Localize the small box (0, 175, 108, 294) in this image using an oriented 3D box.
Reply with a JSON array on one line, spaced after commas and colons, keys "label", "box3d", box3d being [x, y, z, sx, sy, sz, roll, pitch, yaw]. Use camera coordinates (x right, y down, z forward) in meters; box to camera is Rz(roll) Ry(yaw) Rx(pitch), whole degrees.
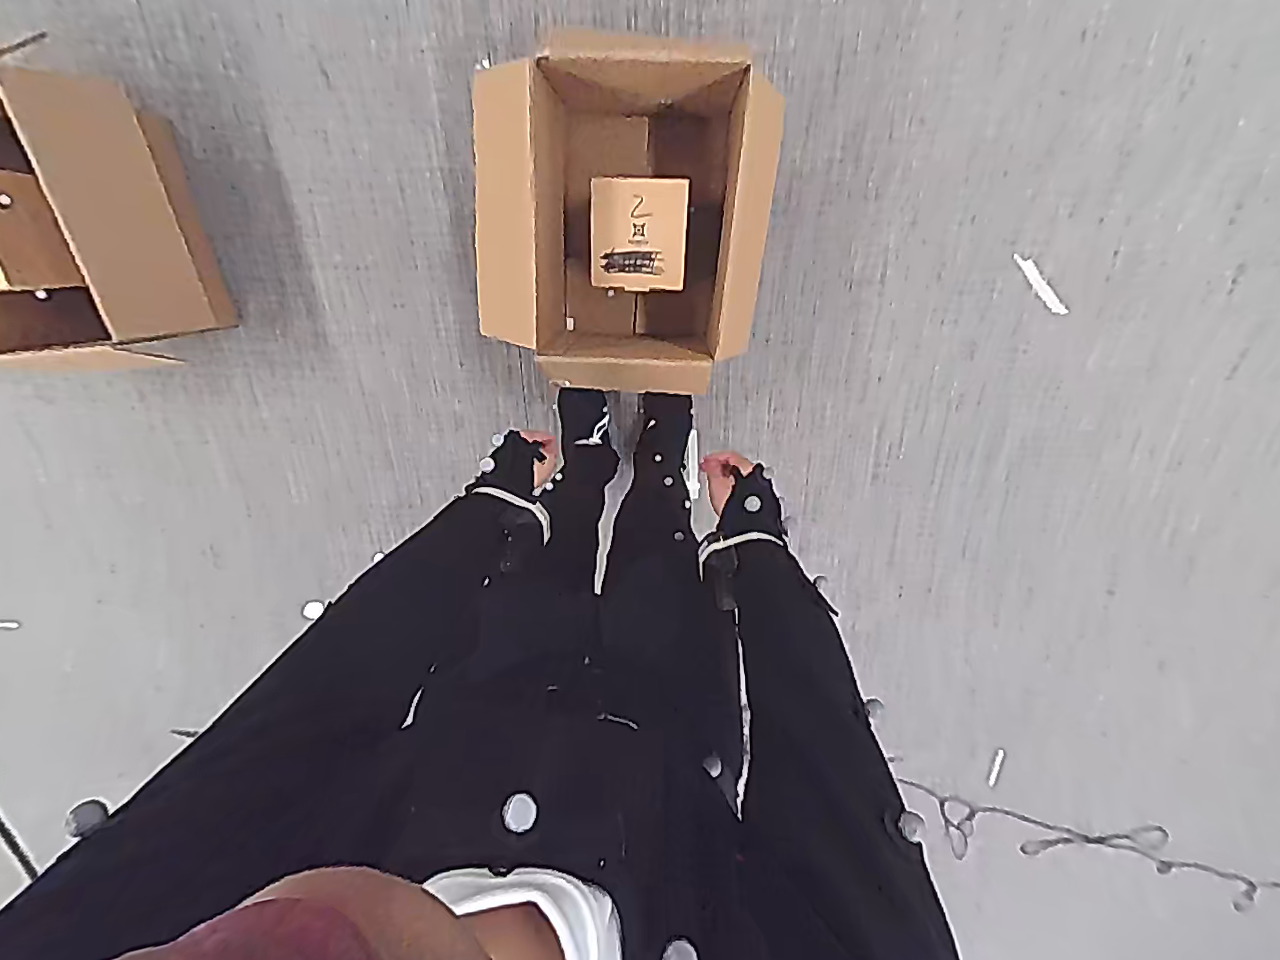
[{"label": "small box", "box3d": [-1.075, -0.407, 0.907, 0.168, 0.176, 0.179, -2, 112, 5]}]
